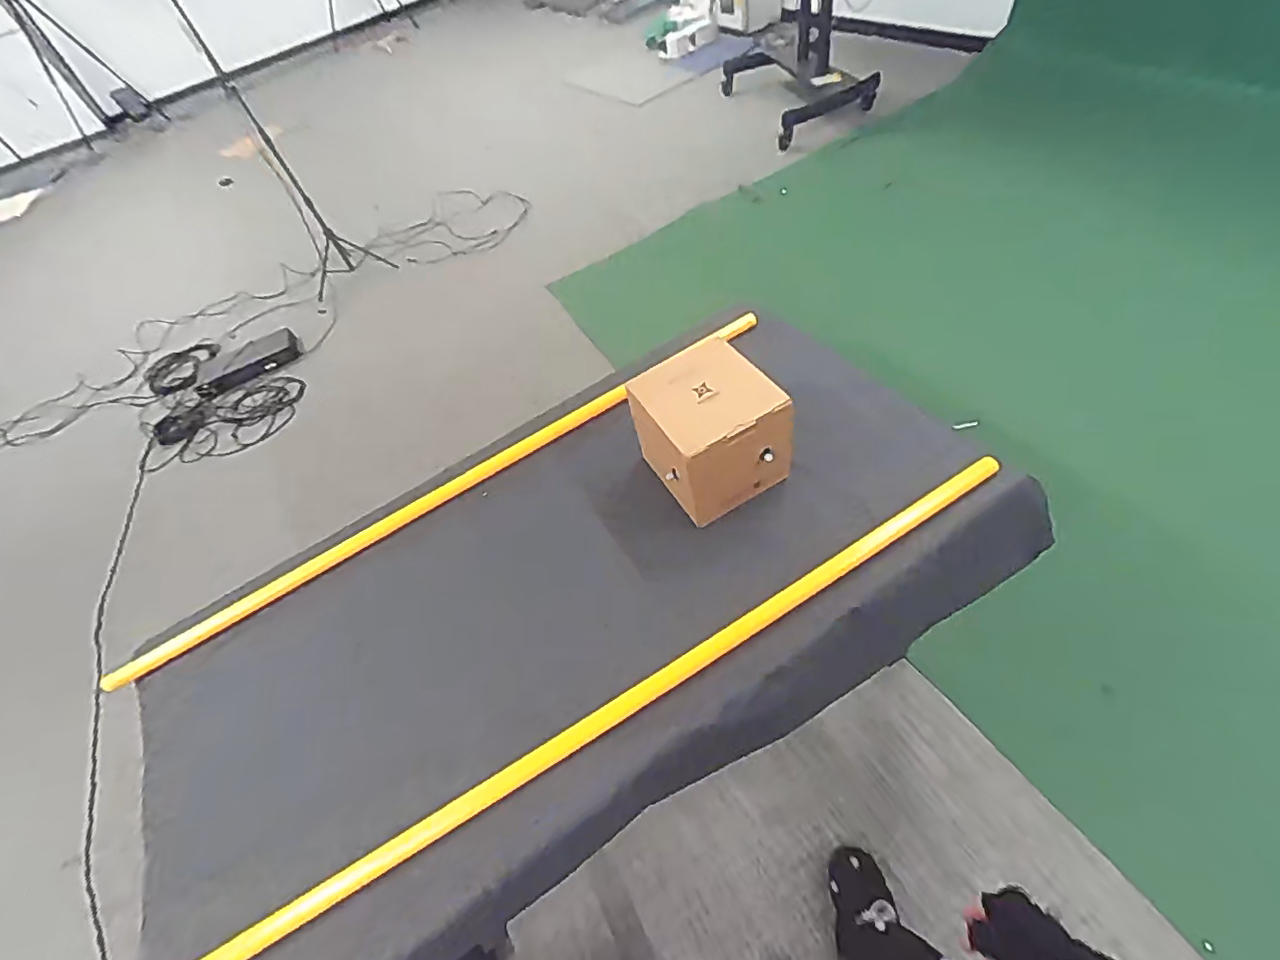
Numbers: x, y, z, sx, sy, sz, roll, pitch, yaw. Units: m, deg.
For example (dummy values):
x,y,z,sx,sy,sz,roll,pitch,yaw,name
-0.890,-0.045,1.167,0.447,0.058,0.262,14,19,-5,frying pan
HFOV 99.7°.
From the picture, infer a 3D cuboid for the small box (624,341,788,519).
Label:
x,y,z,sx,sy,sz,roll,pitch,yaw,name
0.100,-0.066,0.801,0.168,0.176,0.179,-29,51,-11,small box
